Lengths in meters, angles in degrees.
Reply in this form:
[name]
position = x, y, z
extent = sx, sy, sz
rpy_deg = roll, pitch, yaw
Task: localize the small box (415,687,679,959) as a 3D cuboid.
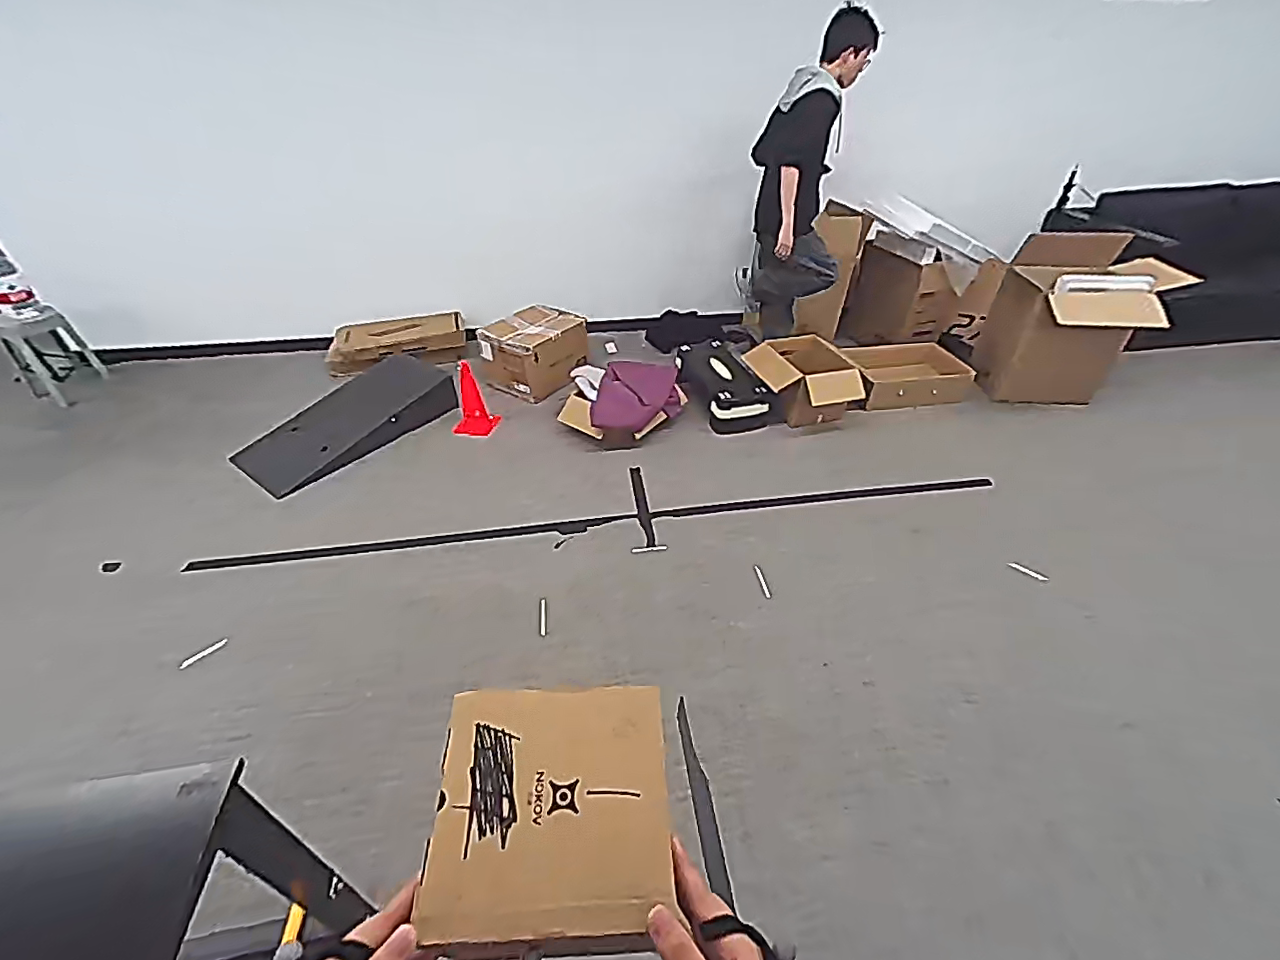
[small box]
position = -0.065, 0.294, 0.462
extent = 0.179, 0.176, 0.168
rpy_deg = 0, 46, -4
